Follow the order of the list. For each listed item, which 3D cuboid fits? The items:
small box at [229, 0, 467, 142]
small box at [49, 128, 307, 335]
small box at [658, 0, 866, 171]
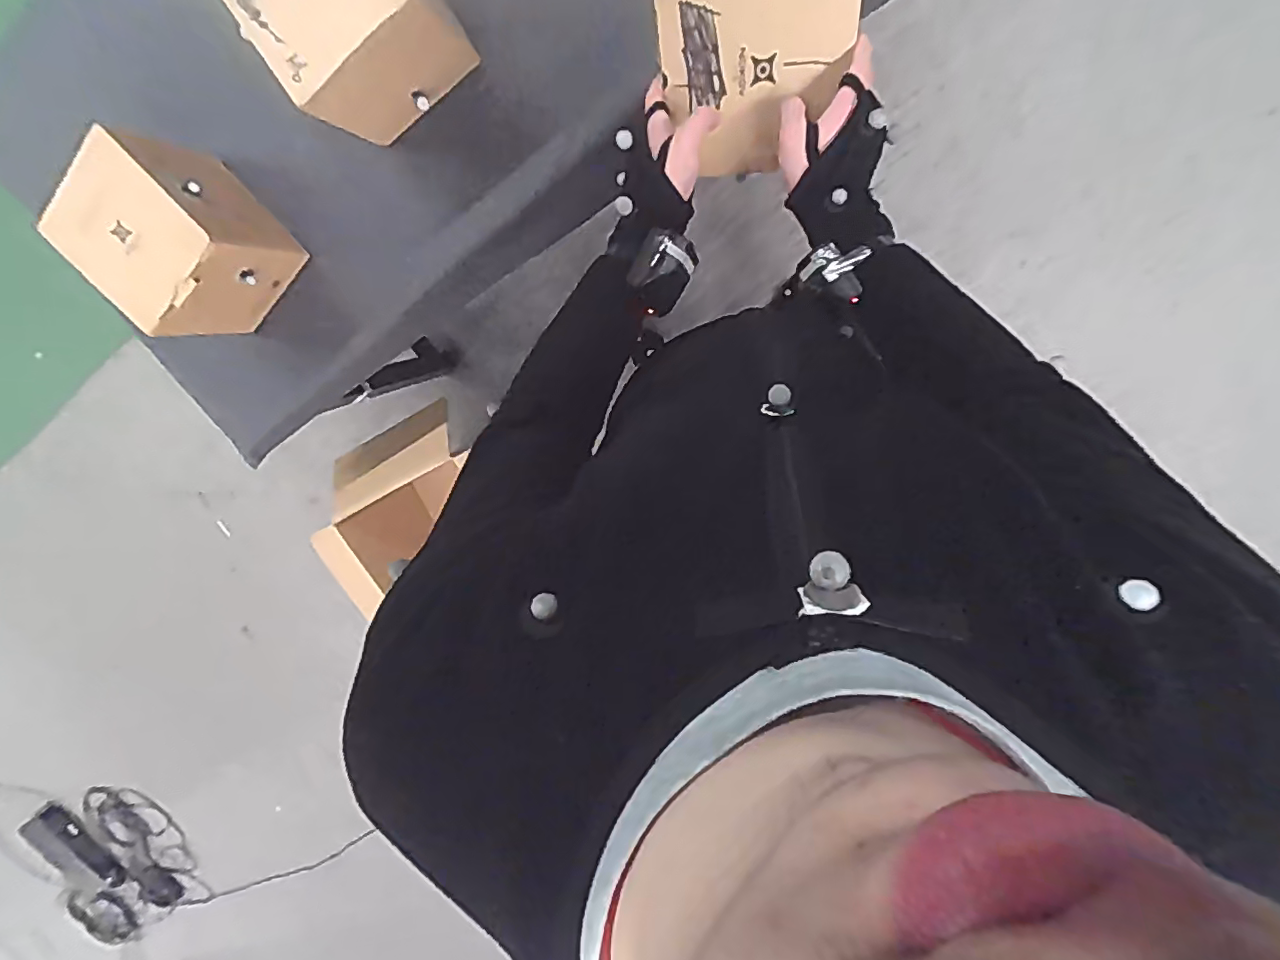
[{"bbox_3d":[-0.324,-0.533,0.618,0.179,0.176,0.168,-30,102,16],"label":"small box"},{"bbox_3d":[-0.605,-0.320,0.732,0.168,0.176,0.179,-41,97,17],"label":"small box"},{"bbox_3d":[0.121,-0.420,0.545,0.179,0.176,0.168,1,127,12],"label":"small box"}]
